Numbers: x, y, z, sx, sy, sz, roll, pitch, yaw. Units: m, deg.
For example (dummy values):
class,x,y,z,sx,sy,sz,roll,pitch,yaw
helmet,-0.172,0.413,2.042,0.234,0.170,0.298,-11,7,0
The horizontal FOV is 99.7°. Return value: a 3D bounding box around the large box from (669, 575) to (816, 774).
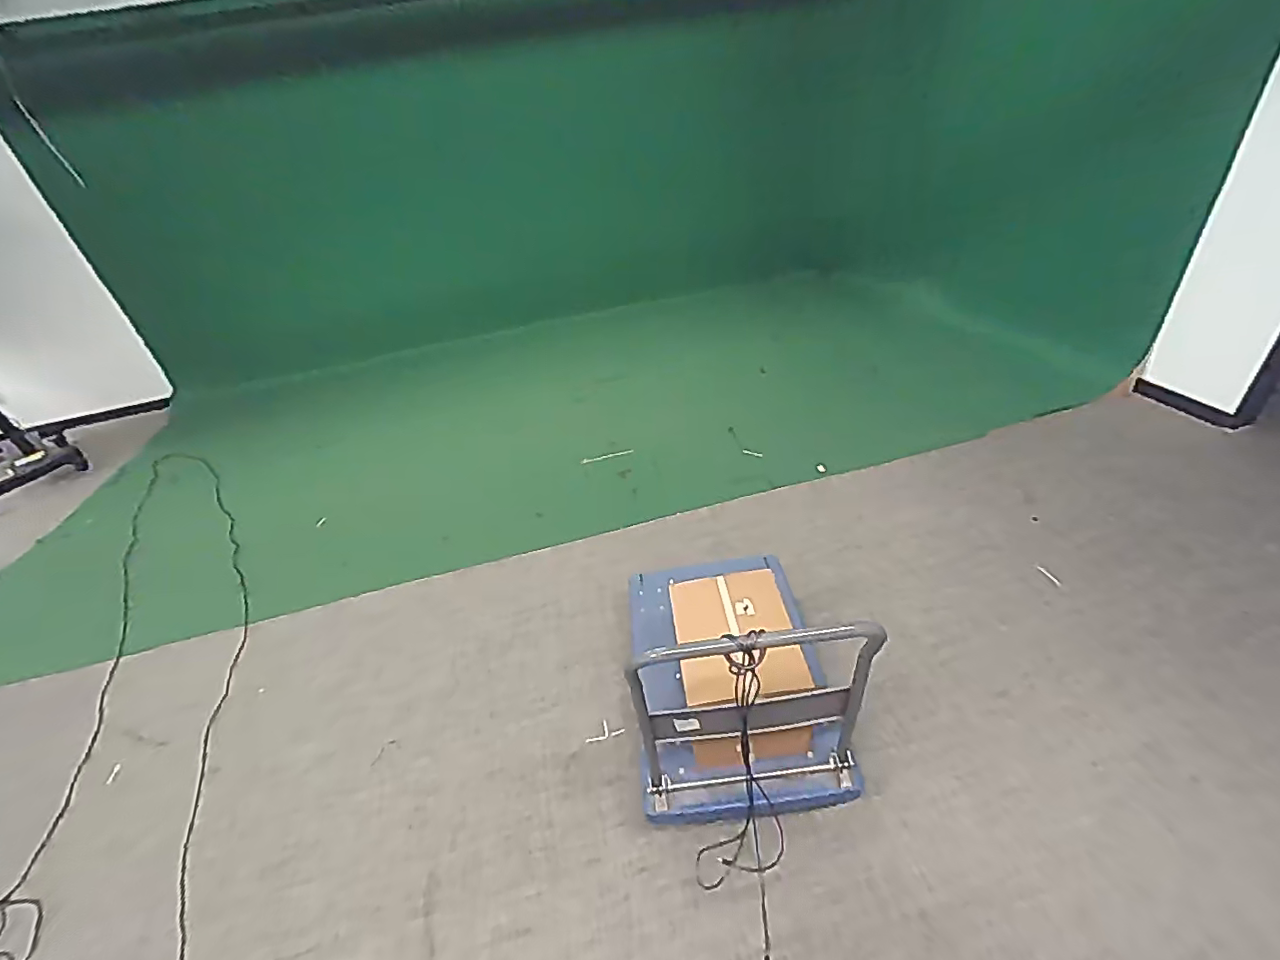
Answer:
class,x,y,z,sx,sy,sz,roll,pitch,yaw
large box,0.275,0.539,1.527,0.320,0.320,0.408,-9,35,1
